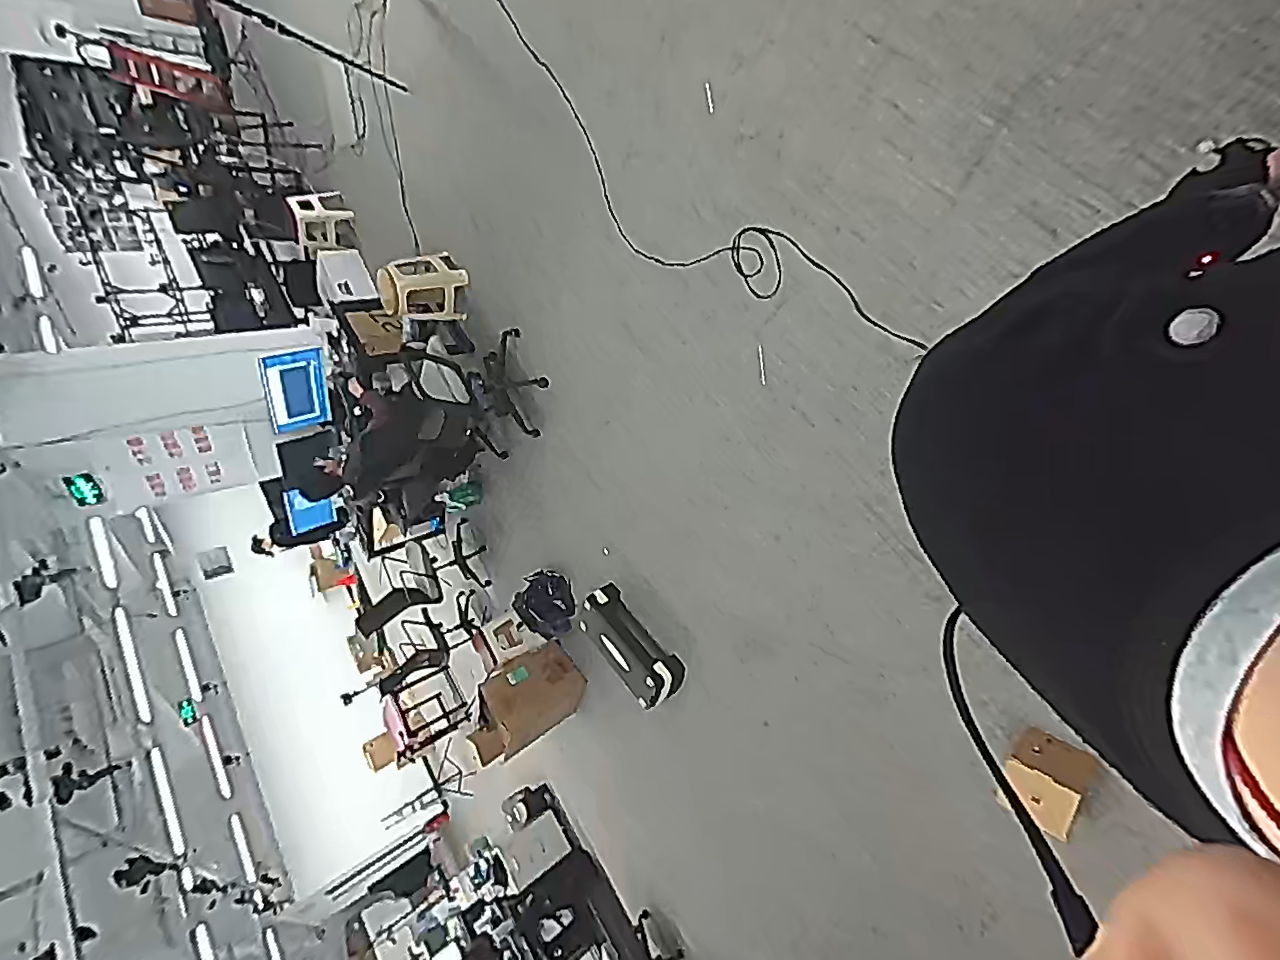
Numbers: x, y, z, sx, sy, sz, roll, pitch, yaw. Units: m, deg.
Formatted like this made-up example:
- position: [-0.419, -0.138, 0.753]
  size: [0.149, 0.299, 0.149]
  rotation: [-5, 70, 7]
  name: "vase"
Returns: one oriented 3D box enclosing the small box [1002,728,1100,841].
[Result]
- position: [1.140, 0.833, 1.498]
  size: [0.168, 0.176, 0.179]
  rotation: [20, 123, 47]
  name: "small box"
